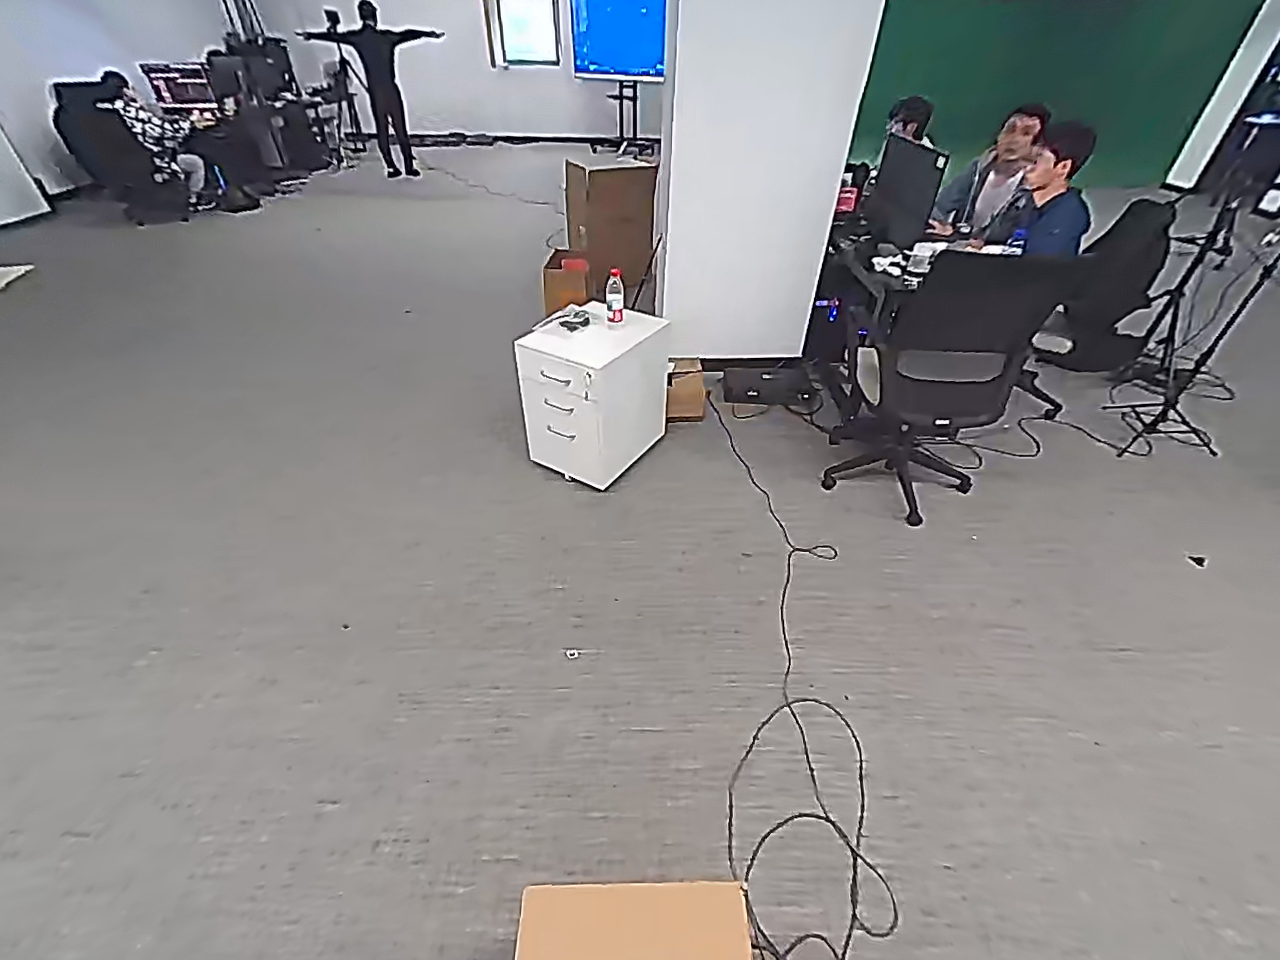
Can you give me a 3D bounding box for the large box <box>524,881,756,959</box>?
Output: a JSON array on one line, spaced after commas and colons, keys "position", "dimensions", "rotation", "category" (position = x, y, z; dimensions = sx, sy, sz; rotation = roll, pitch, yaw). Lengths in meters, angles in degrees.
[{"position": [-0.001, 0.963, 0.974], "dimensions": [0.408, 0.320, 0.320], "rotation": [0, 39, -1], "category": "large box"}]
